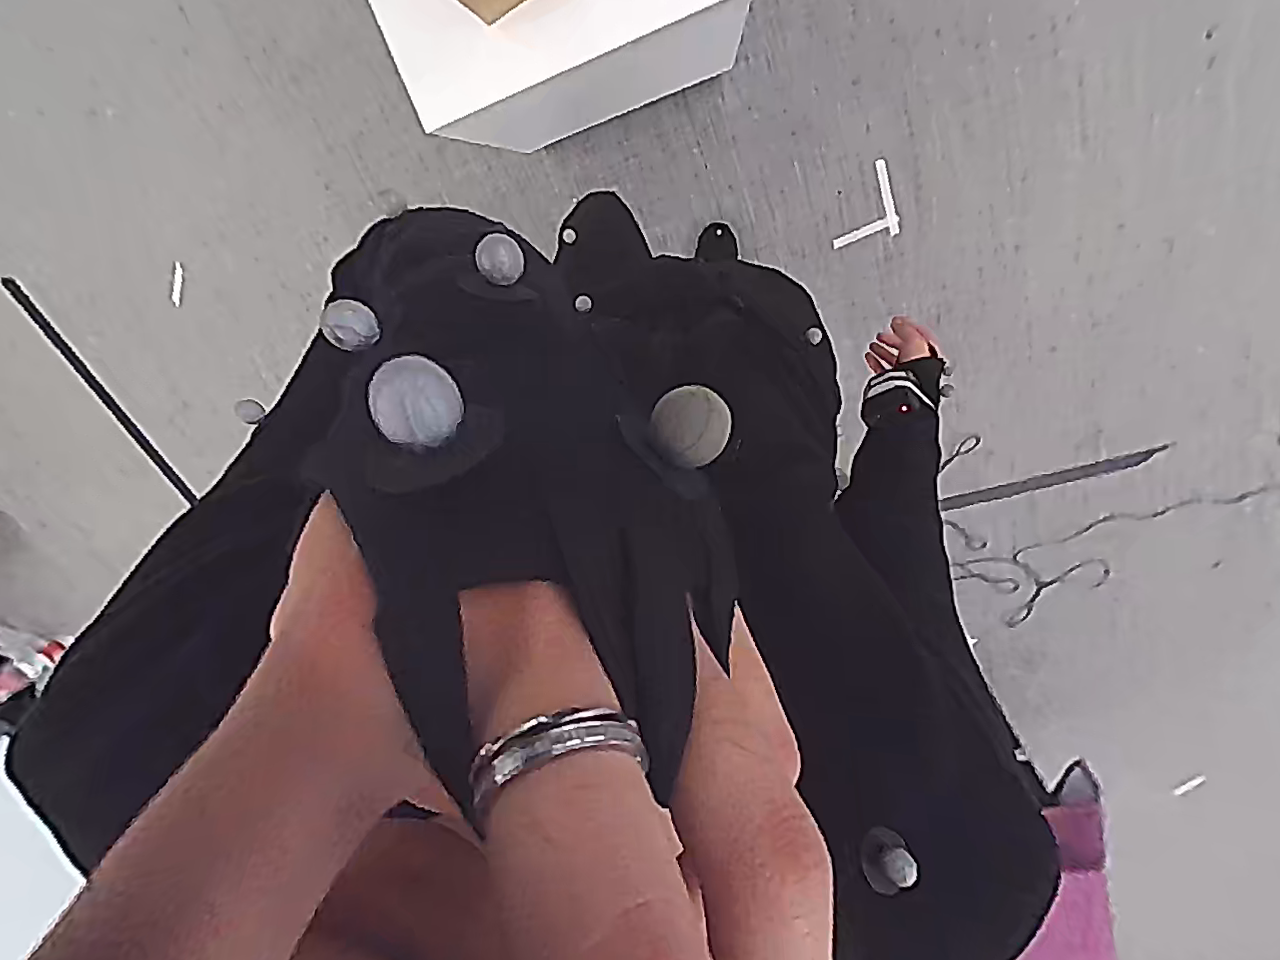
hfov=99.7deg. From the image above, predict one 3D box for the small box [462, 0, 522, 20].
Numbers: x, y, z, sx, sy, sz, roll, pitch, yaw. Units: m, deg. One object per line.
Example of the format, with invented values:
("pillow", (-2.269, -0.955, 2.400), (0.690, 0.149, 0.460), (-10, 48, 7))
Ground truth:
("small box", (-0.178, -0.689, 0.628), (0.179, 0.176, 0.168), (-21, 114, 16))
